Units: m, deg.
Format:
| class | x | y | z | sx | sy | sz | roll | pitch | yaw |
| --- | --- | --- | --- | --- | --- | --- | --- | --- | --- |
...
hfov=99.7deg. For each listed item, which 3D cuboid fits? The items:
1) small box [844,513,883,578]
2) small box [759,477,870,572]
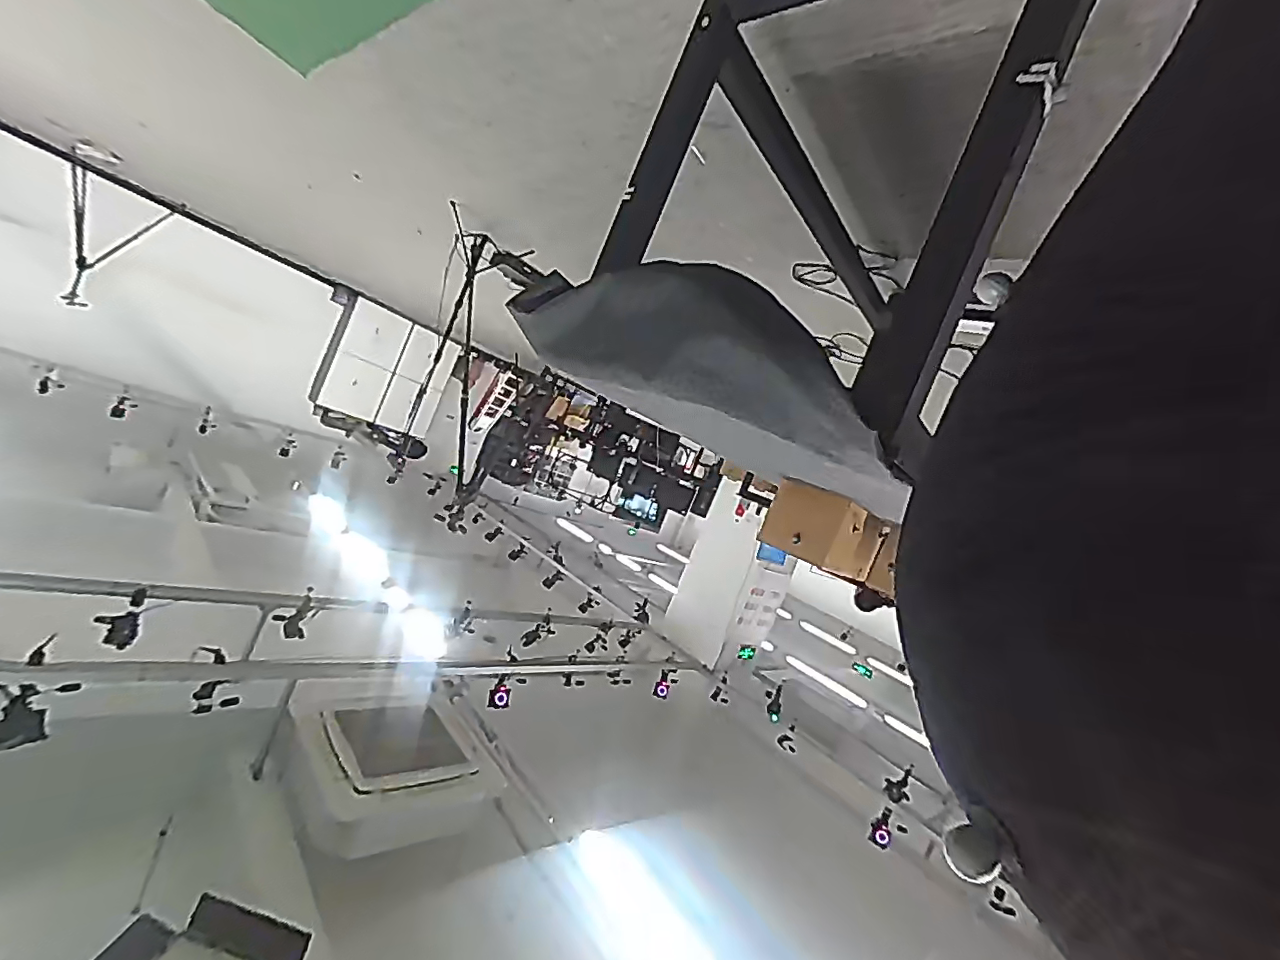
| class | x | y | z | sx | sy | sz | roll | pitch | yaw |
| --- | --- | --- | --- | --- | --- | --- | --- | --- | --- |
| small box | 0.551 | 0.154 | 1.498 | 0.179 | 0.176 | 0.168 | 24 | -178 | 43 |
| small box | 0.422 | 0.103 | 1.302 | 0.179 | 0.176 | 0.168 | 22 | -179 | 40 |
